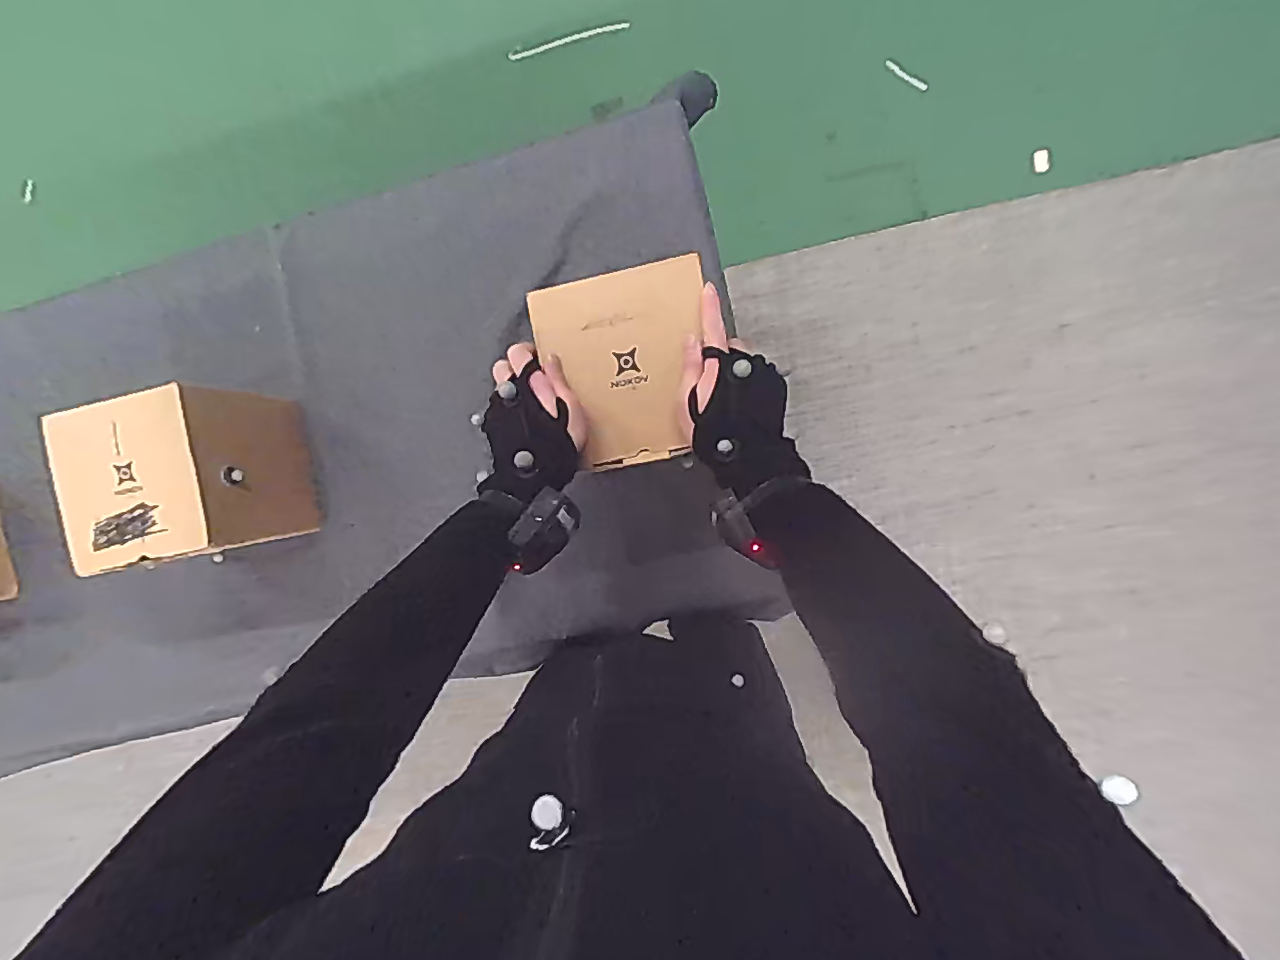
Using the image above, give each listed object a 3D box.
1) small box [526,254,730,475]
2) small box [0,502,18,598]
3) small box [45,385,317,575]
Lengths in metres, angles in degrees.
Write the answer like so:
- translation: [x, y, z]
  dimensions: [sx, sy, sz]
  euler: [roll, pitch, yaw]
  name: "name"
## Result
- translation: [-0.003, -0.107, 0.574]
  dimensions: [0.168, 0.176, 0.179]
  euler: [-11, 90, 6]
  name: "small box"
- translation: [-0.979, 0.099, 0.695]
  dimensions: [0.168, 0.176, 0.179]
  euler: [-13, 92, 5]
  name: "small box"
- translation: [-0.520, -0.002, 0.638]
  dimensions: [0.168, 0.176, 0.179]
  euler: [-11, 90, 7]
  name: "small box"
